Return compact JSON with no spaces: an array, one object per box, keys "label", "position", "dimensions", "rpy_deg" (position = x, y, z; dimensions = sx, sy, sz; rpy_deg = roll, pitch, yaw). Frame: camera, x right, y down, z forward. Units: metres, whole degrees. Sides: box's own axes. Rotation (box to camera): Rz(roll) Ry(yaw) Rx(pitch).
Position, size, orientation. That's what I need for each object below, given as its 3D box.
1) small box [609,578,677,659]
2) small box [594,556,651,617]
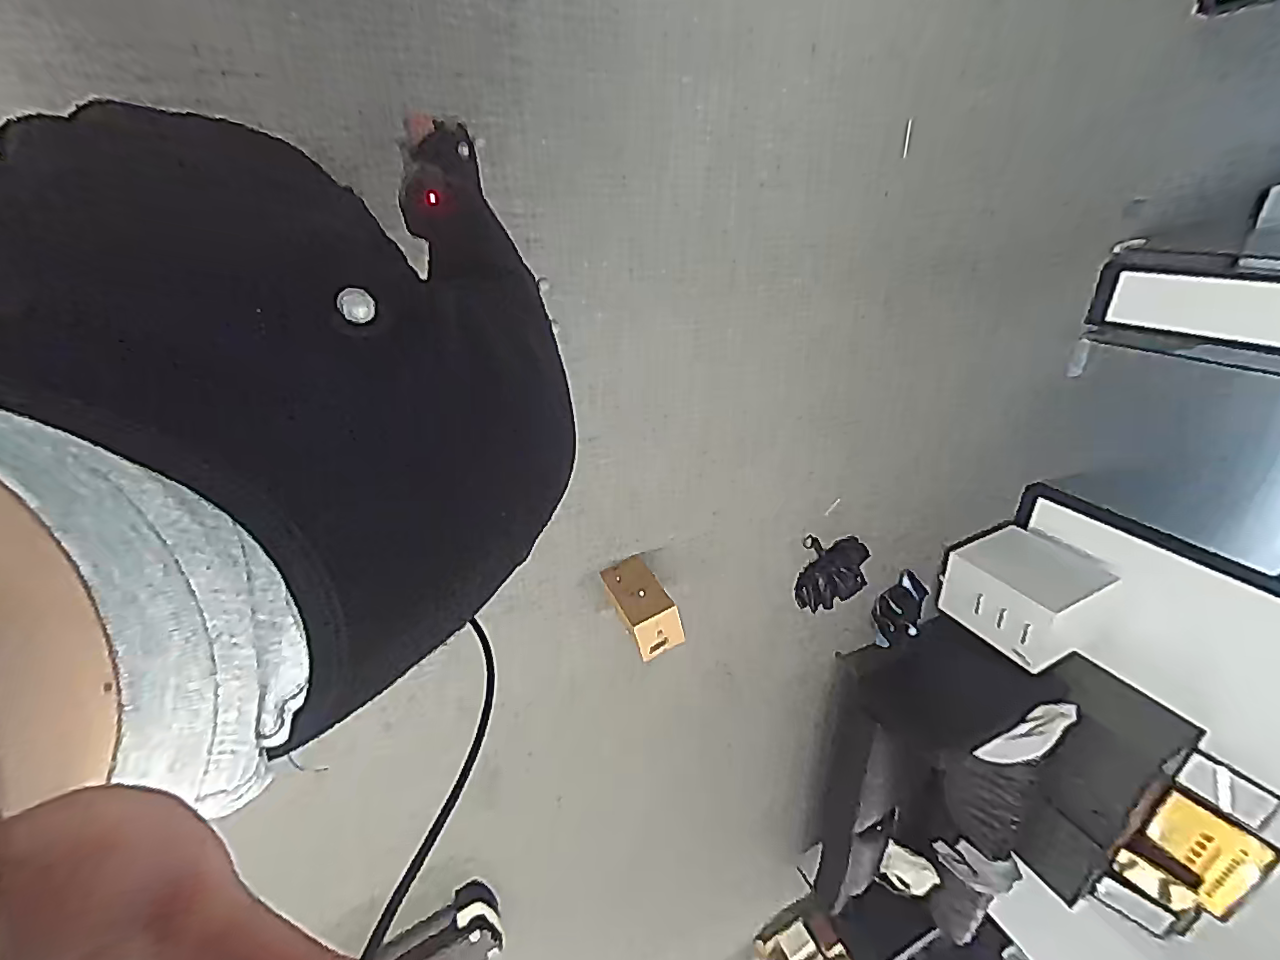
[{"label":"small box","position":[0.009,0.476,1.880],"dimensions":[0.168,0.176,0.179],"rpy_deg":[-24,122,-15]},{"label":"small box","position":[-0.055,0.408,2.015],"dimensions":[0.168,0.176,0.179],"rpy_deg":[-25,125,-14]}]
